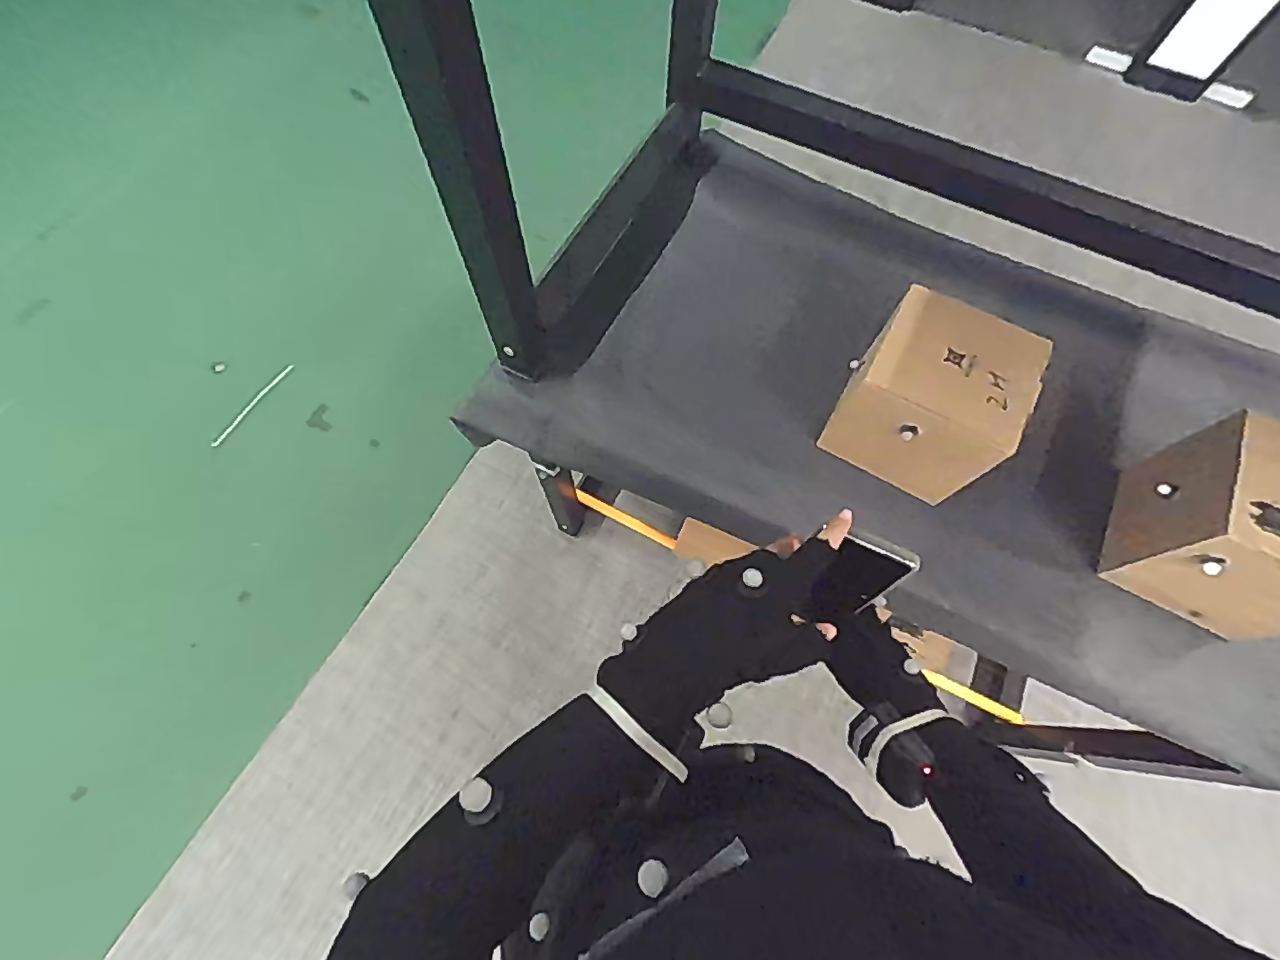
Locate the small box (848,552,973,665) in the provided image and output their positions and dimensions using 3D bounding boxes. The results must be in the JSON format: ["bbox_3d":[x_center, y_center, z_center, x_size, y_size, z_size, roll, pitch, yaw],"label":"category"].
[{"bbox_3d":[0.584,0.291,1.191,0.168,0.176,0.179,30,71,10],"label":"small box"}]

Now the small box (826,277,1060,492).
[{"bbox_3d":[0.362,-0.109,0.678,0.179,0.176,0.168,30,70,11],"label":"small box"}]
